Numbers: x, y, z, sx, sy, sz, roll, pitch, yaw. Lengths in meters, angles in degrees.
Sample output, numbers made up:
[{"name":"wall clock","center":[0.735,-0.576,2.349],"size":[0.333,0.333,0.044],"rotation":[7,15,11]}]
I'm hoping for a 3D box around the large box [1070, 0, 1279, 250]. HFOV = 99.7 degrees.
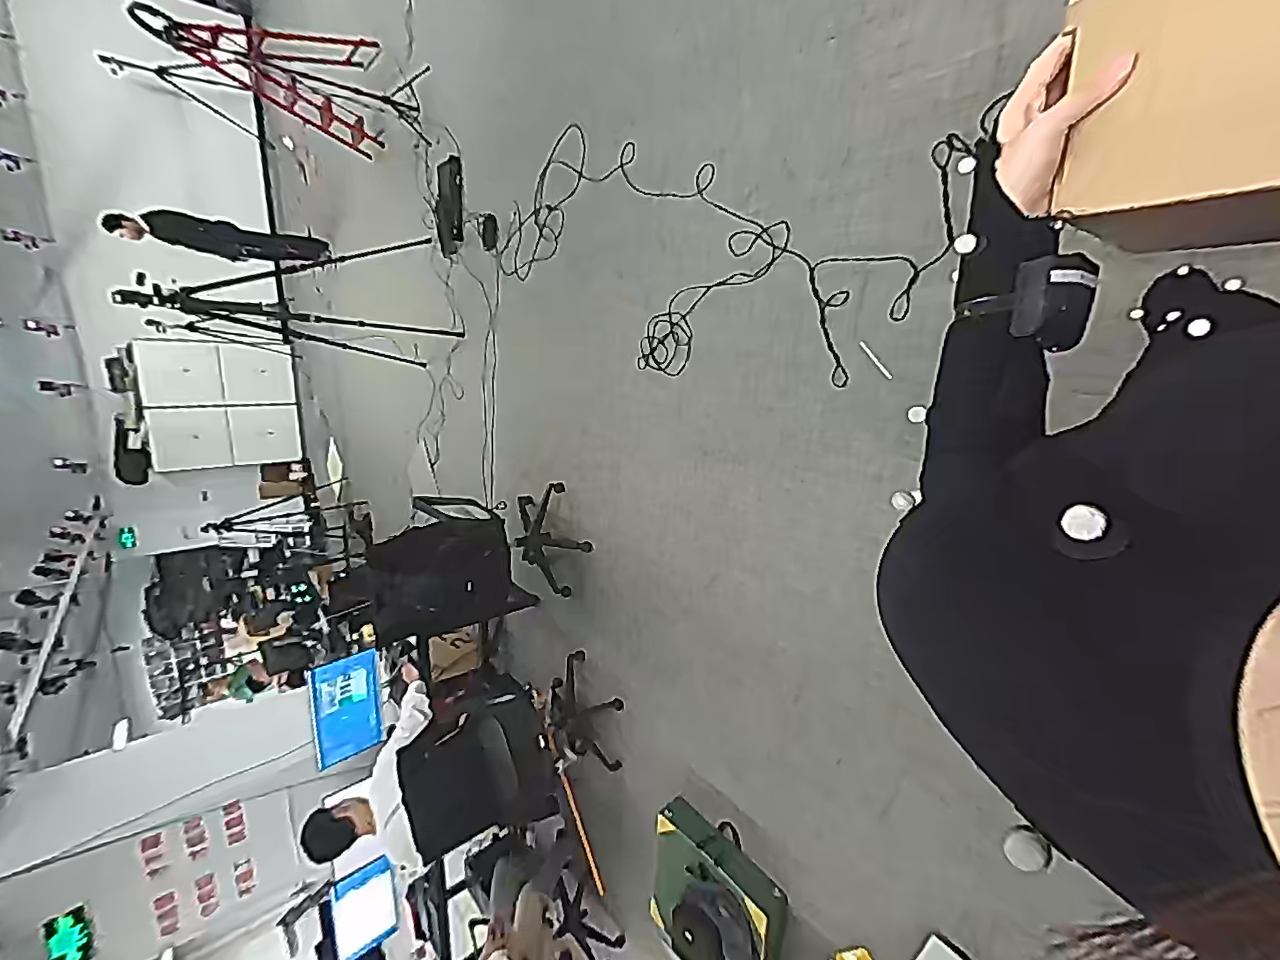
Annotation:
[{"name":"large box","center":[0.567,-0.351,0.337],"size":[0.408,0.320,0.320],"rotation":[14,111,46]}]
